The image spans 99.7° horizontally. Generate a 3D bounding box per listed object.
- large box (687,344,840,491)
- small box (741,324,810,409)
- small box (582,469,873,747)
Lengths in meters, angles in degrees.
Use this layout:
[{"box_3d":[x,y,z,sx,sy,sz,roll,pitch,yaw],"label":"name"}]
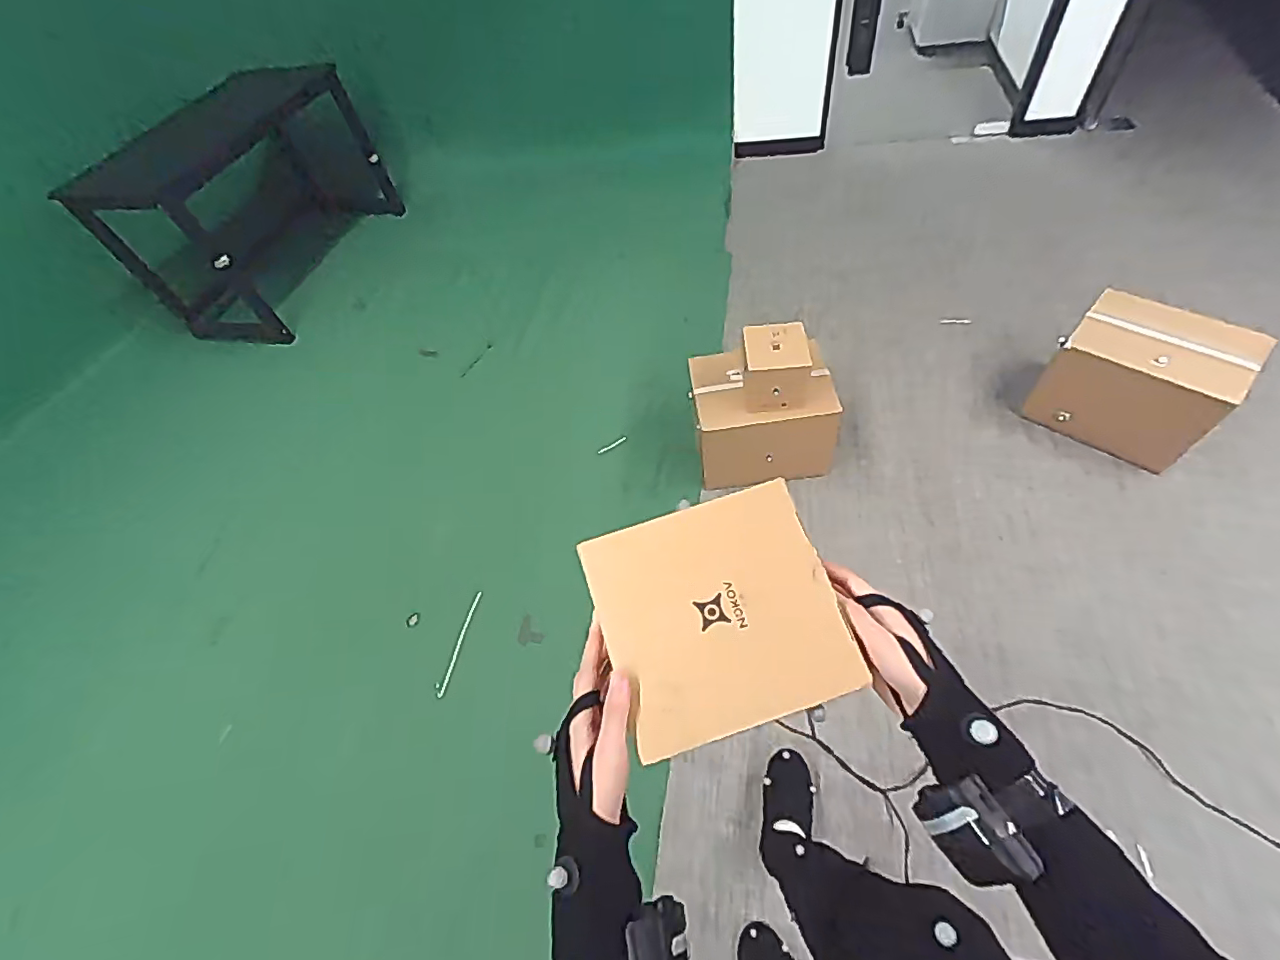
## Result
[{"box_3d":[0.380,-0.190,1.735,0.408,0.320,0.320,-8,53,5],"label":"large box"},{"box_3d":[0.375,-0.311,1.516,0.168,0.176,0.179,-3,55,6],"label":"small box"},{"box_3d":[0.063,0.115,0.474,0.179,0.176,0.168,-17,70,-5],"label":"small box"}]
